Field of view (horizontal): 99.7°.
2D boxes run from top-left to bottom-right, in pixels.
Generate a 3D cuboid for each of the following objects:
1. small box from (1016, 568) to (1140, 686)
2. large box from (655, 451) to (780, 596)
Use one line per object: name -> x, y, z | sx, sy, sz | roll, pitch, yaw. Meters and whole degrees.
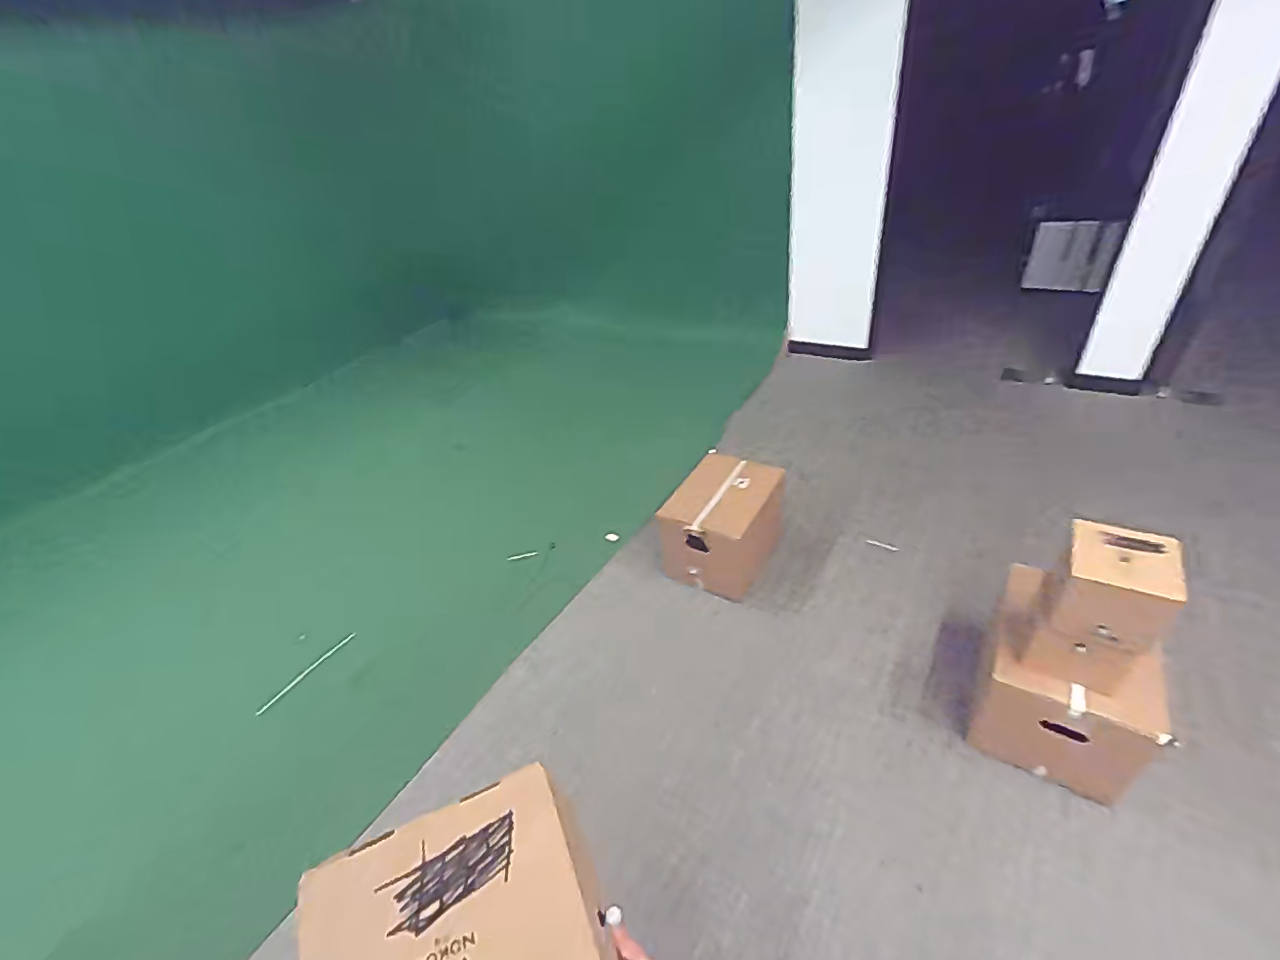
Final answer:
small box -> 0.974, 0.332, 1.212 | 0.179, 0.176, 0.168 | 13, 43, 30
large box -> 0.299, 0.150, 1.991 | 0.320, 0.320, 0.408 | 16, 44, 30
